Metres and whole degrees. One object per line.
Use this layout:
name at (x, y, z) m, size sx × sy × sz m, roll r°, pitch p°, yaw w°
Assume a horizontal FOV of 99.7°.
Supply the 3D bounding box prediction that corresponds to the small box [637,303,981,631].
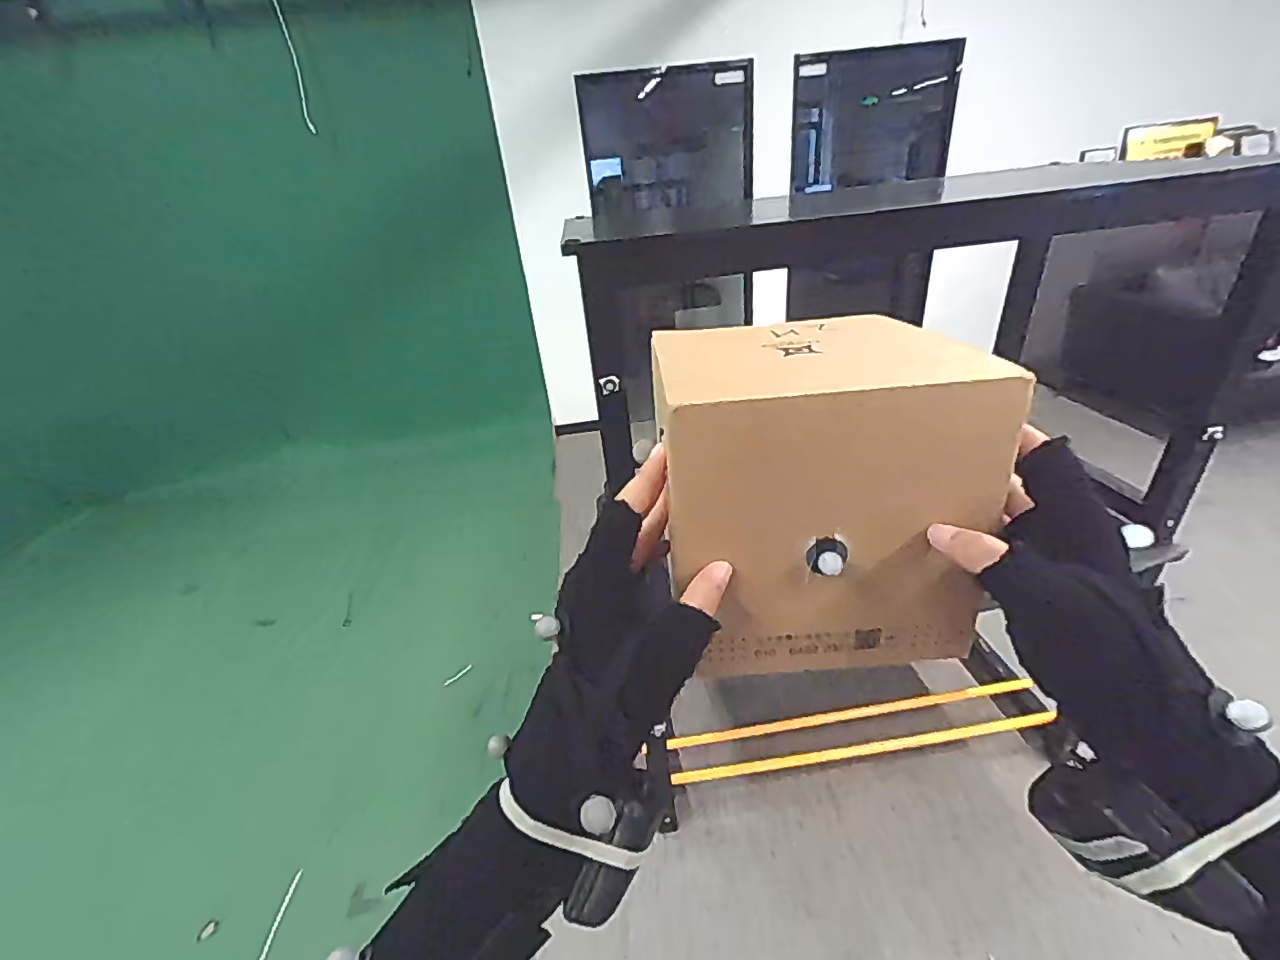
small box at (0.087, -0.014, 0.363) m, size 0.168 × 0.176 × 0.179 m, roll -4°, pitch 24°, yaw 1°
